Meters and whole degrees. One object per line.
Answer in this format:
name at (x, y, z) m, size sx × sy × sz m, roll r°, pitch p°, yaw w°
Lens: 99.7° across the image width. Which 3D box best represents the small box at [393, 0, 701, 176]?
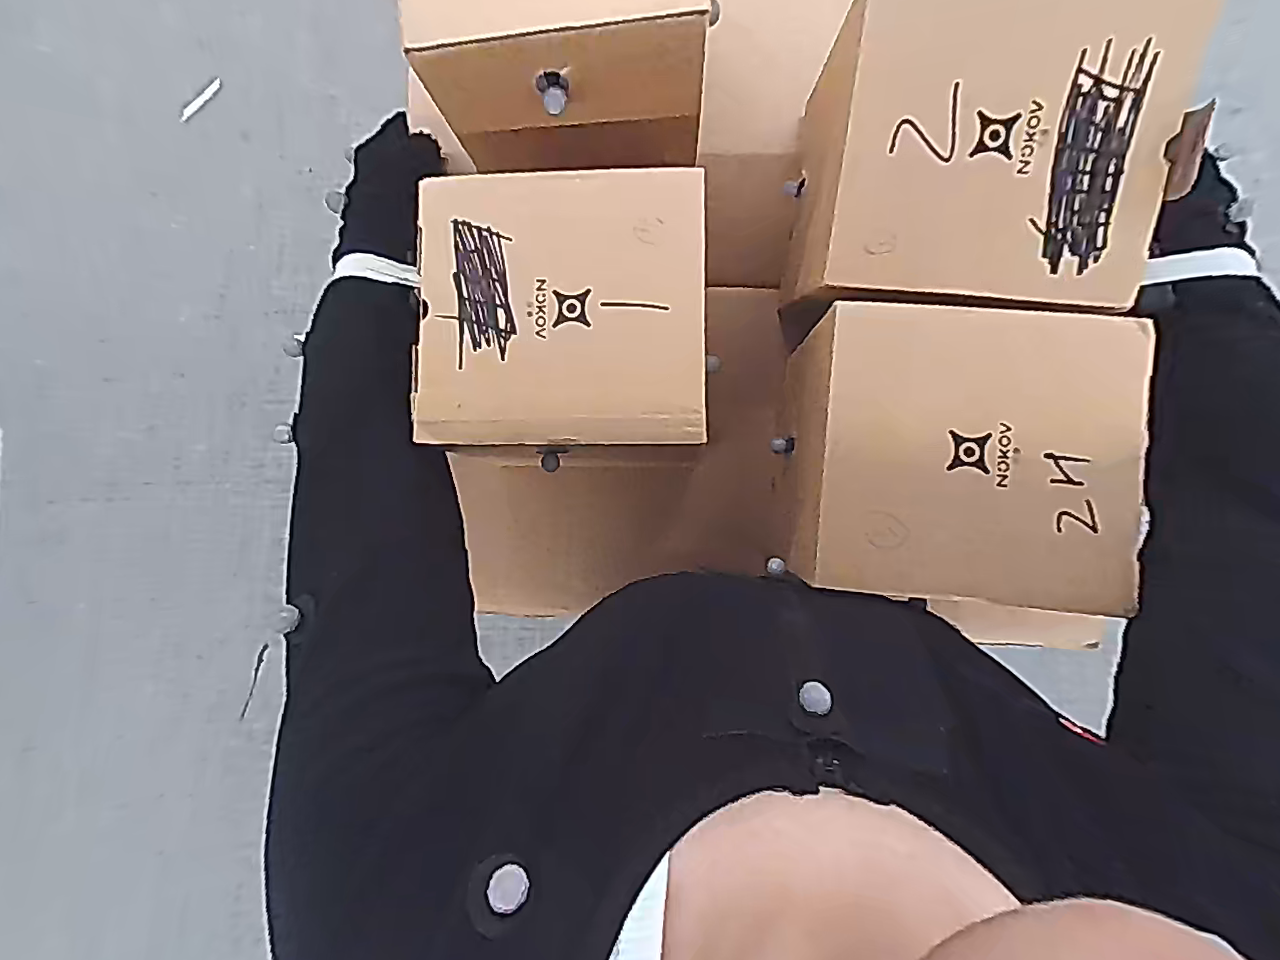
small box at (-0.053, -0.343, 0.378) m, size 0.179 × 0.176 × 0.168 m, roll -4°, pitch 91°, yaw 4°
